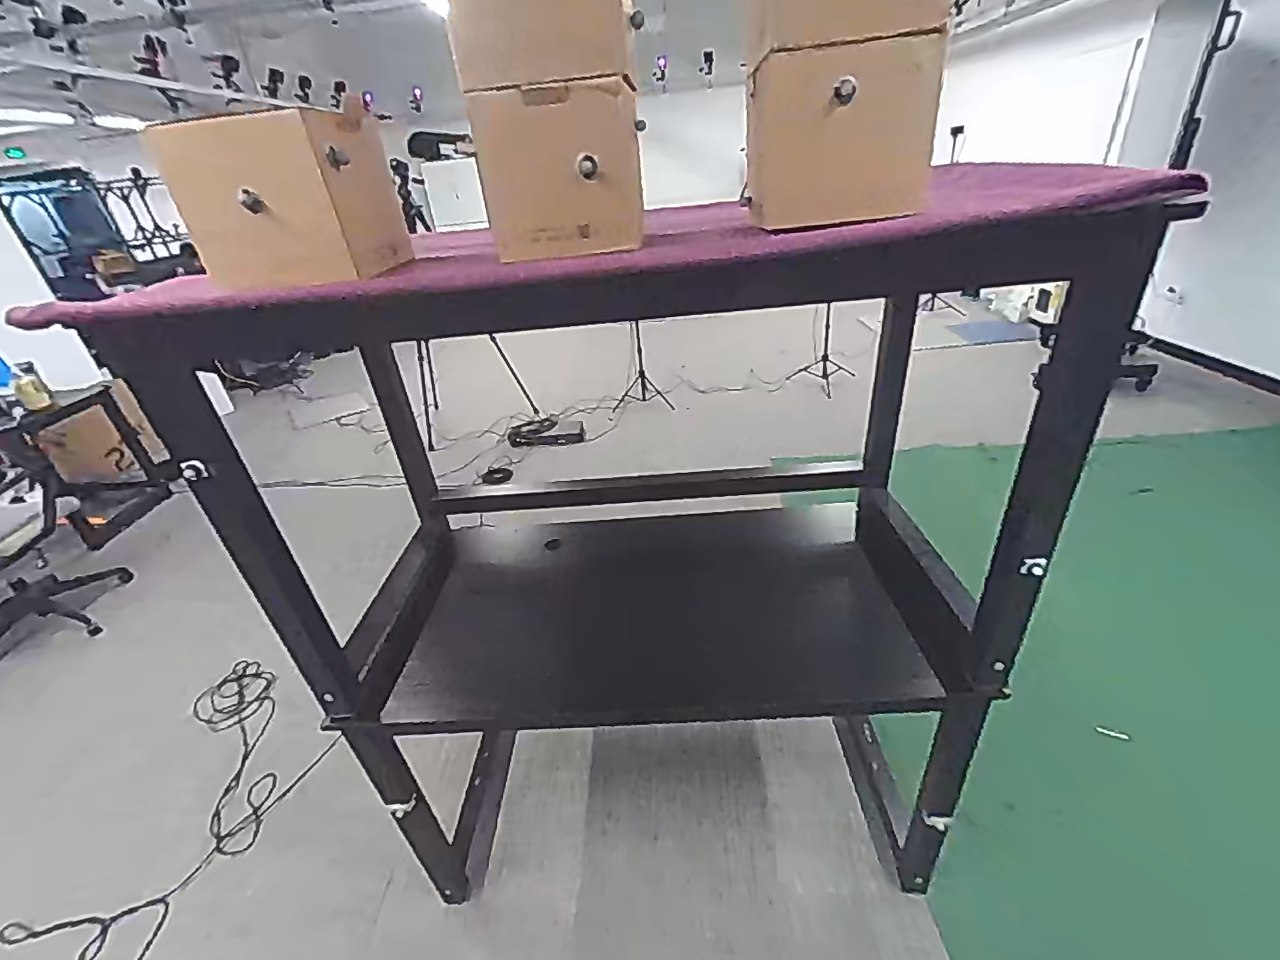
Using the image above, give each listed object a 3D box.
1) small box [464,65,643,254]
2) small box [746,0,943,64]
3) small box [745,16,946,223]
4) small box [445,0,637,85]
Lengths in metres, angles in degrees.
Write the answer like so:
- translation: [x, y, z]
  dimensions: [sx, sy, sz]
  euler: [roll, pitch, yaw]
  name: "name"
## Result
- translation: [-0.087, -0.372, 0.649]
  dimensions: [0.168, 0.176, 0.179]
  euler: [-2, 30, 5]
  name: "small box"
- translation: [0.206, -0.548, 0.563]
  dimensions: [0.179, 0.176, 0.168]
  euler: [-4, 28, 4]
  name: "small box"
- translation: [0.224, -0.403, 0.635]
  dimensions: [0.179, 0.176, 0.168]
  euler: [-4, 28, 3]
  name: "small box"
- translation: [-0.102, -0.514, 0.567]
  dimensions: [0.179, 0.176, 0.168]
  euler: [-2, 31, 5]
  name: "small box"
